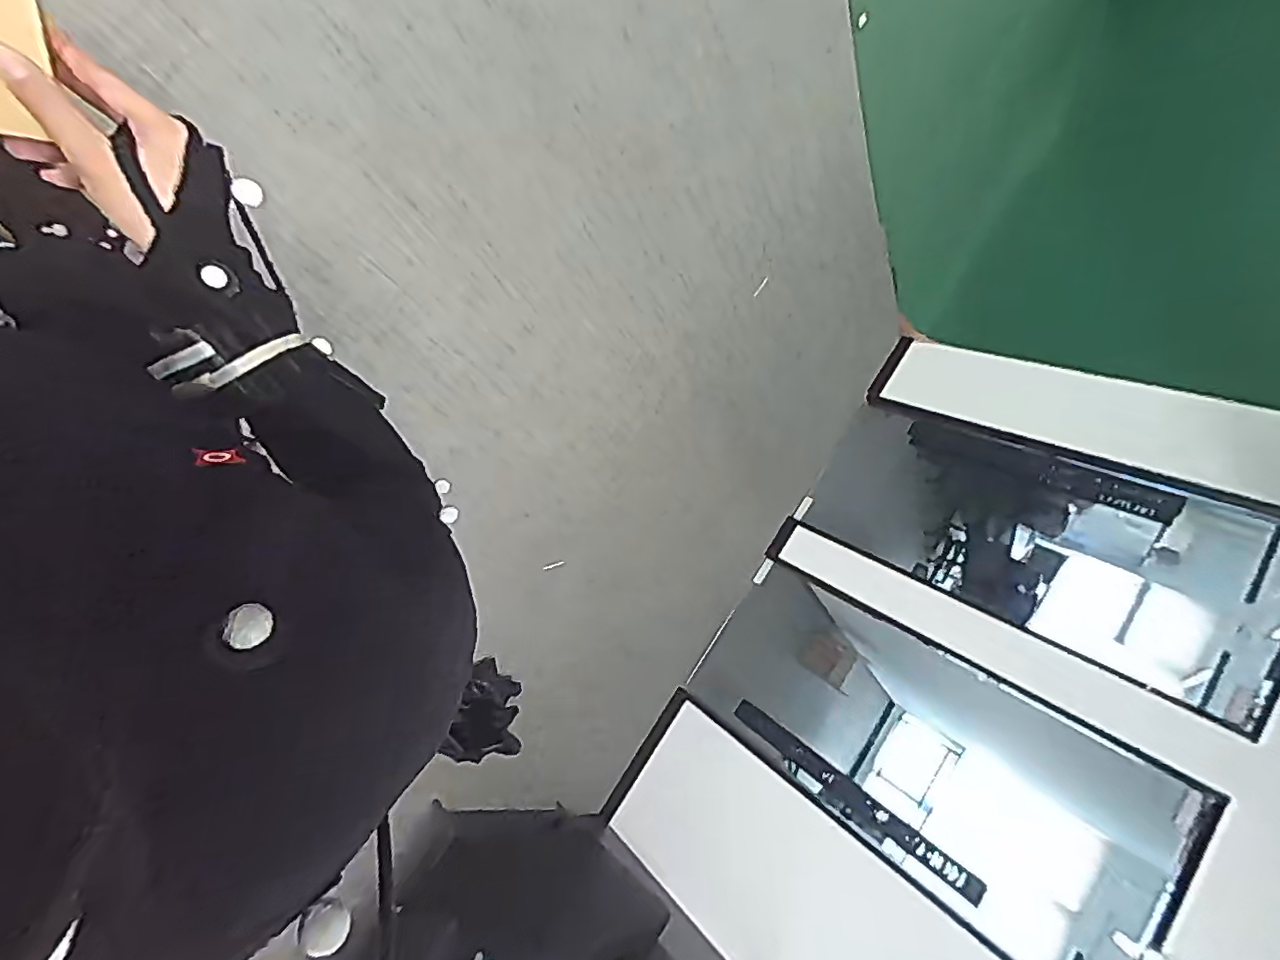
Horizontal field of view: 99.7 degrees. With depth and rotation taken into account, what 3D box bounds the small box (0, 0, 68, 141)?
[{"bbox_3d":[-0.409,-0.287,0.259,0.168,0.176,0.179,-12,125,-41],"label":"small box"}]
